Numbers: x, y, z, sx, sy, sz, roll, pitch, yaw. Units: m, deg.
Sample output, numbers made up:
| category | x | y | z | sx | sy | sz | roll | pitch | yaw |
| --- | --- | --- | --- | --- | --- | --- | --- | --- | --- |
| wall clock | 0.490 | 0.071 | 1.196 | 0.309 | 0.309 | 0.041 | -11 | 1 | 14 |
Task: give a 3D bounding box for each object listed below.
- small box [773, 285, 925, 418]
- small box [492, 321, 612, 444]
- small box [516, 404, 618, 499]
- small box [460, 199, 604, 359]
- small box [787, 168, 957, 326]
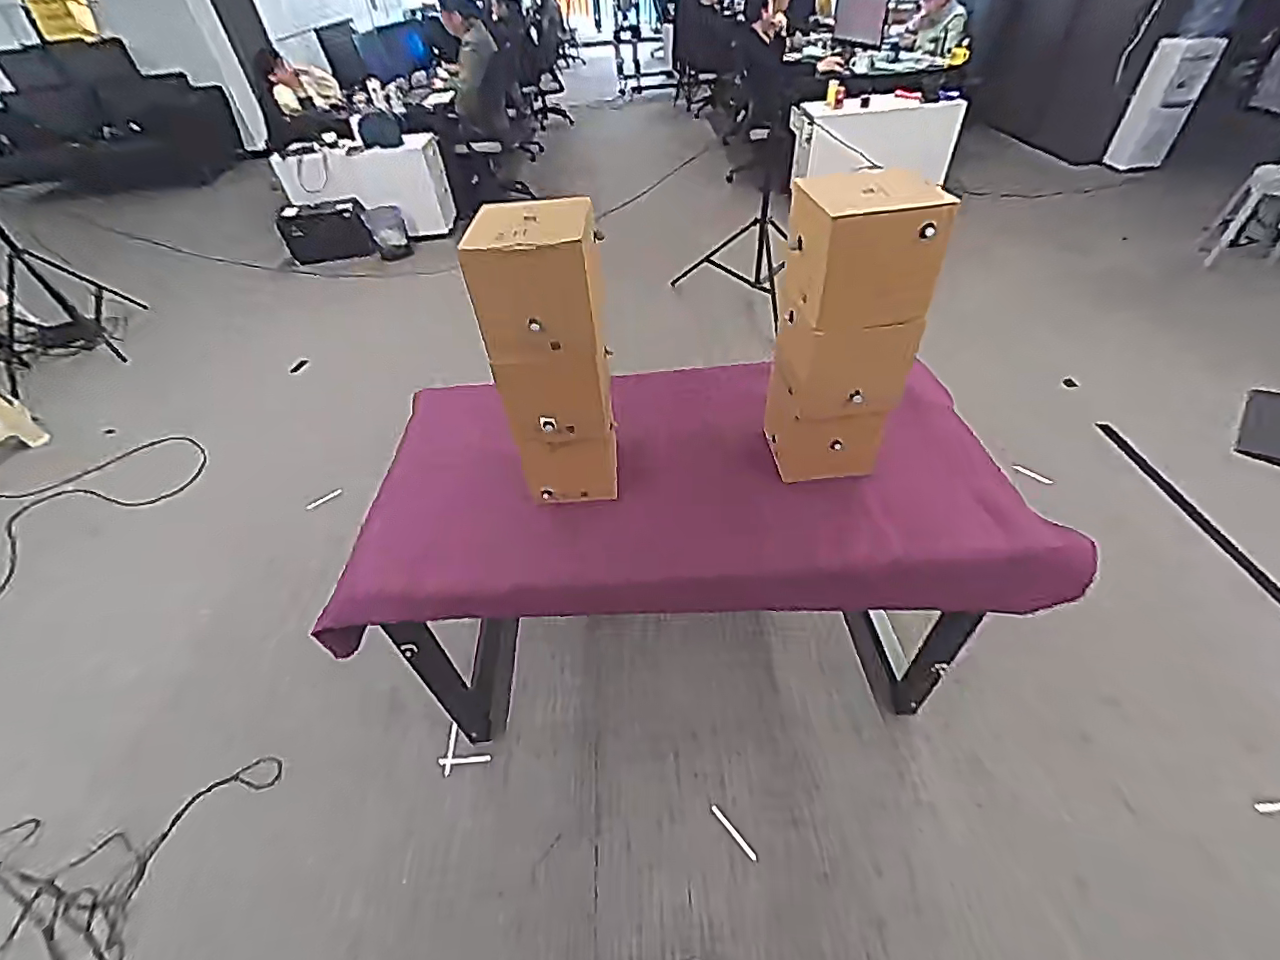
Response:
| category | x | y | z | sx | sy | sz | roll | pitch | yaw |
| --- | --- | --- | --- | --- | --- | --- | --- | --- | --- |
| small box | 0.341 | -0.226 | 0.923 | 0.179 | 0.176 | 0.168 | -8 | 44 | -3 |
| small box | -0.140 | -0.182 | 0.925 | 0.168 | 0.176 | 0.179 | -5 | 46 | 2 |
| small box | -0.132 | -0.075 | 1.048 | 0.168 | 0.176 | 0.179 | -4 | 44 | 1 |
| small box | -0.147 | -0.300 | 0.810 | 0.168 | 0.176 | 0.179 | -3 | 45 | 3 |
| small box | 0.329 | -0.348 | 0.815 | 0.179 | 0.176 | 0.168 | -8 | 44 | -2 |
